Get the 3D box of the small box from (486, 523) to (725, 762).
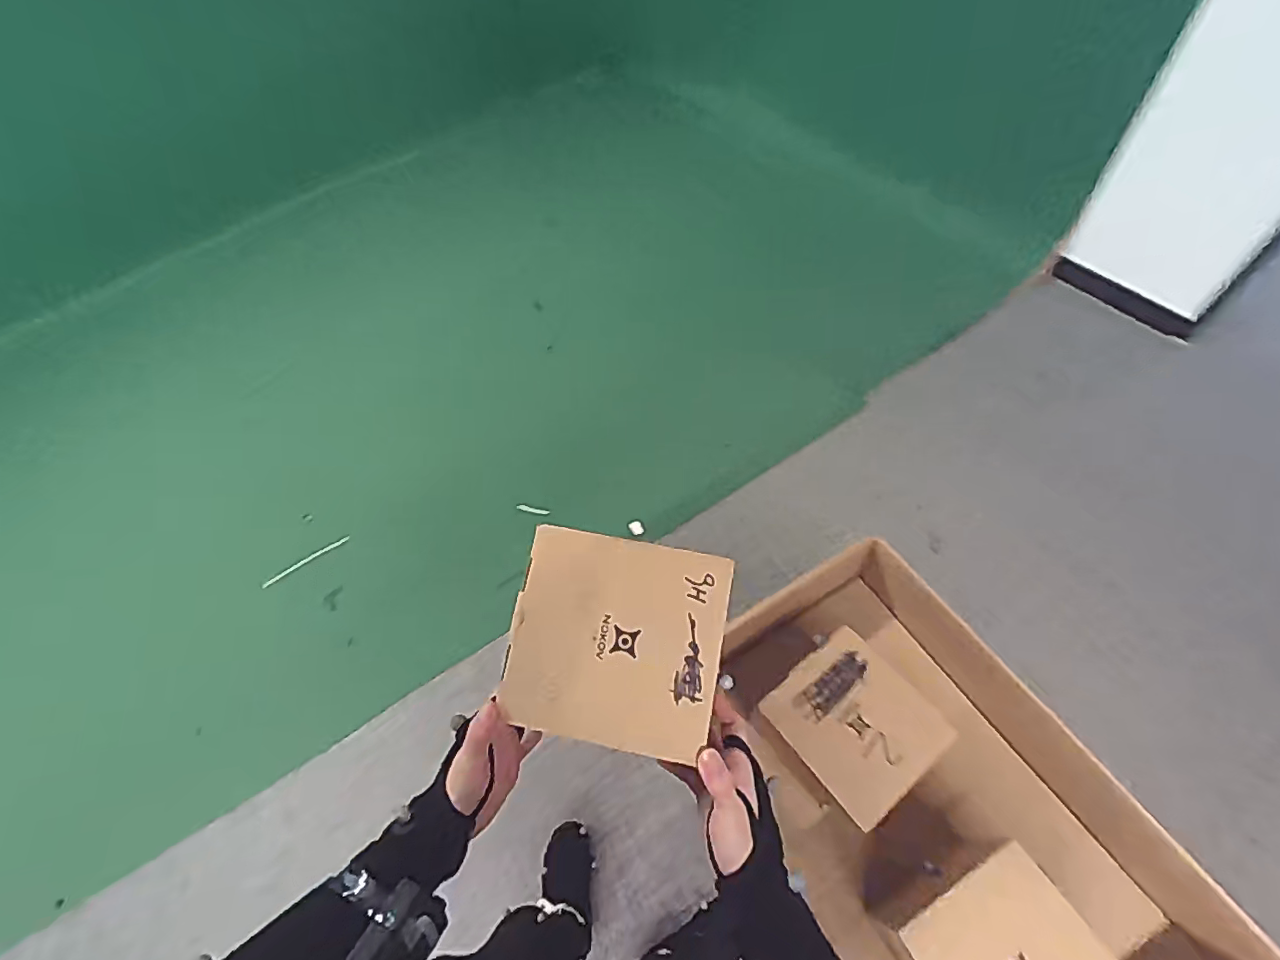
[{"bbox_3d":[-0.021,0.147,0.524,0.179,0.176,0.168,9,78,7],"label":"small box"}]
